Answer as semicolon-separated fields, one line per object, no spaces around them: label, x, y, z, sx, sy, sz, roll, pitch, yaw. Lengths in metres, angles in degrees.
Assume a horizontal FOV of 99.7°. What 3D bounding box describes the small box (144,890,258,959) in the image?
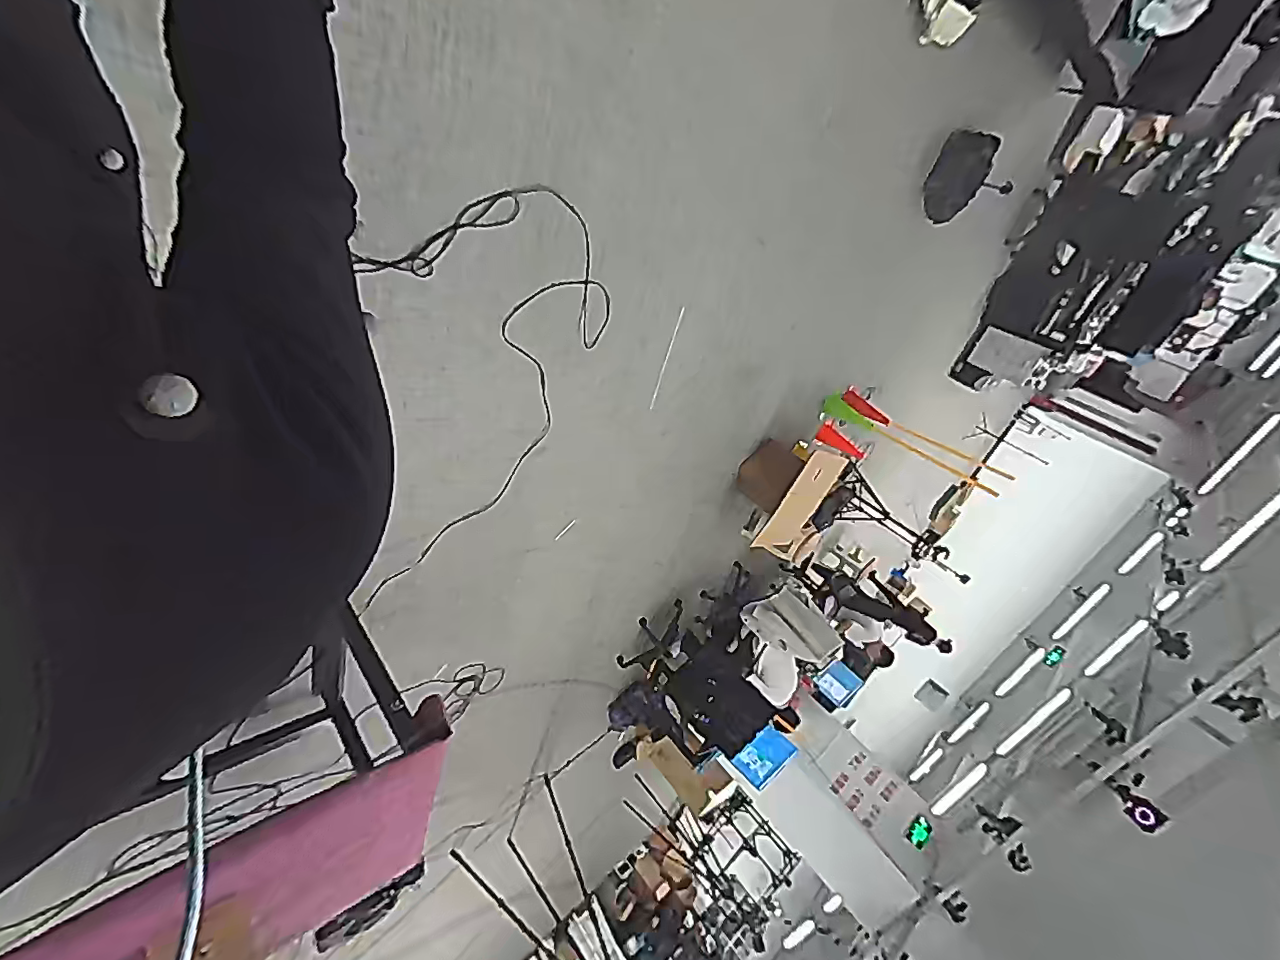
small box;-0.950;1.045;1.171;0.168;0.176;0.179;-9;130;-46
